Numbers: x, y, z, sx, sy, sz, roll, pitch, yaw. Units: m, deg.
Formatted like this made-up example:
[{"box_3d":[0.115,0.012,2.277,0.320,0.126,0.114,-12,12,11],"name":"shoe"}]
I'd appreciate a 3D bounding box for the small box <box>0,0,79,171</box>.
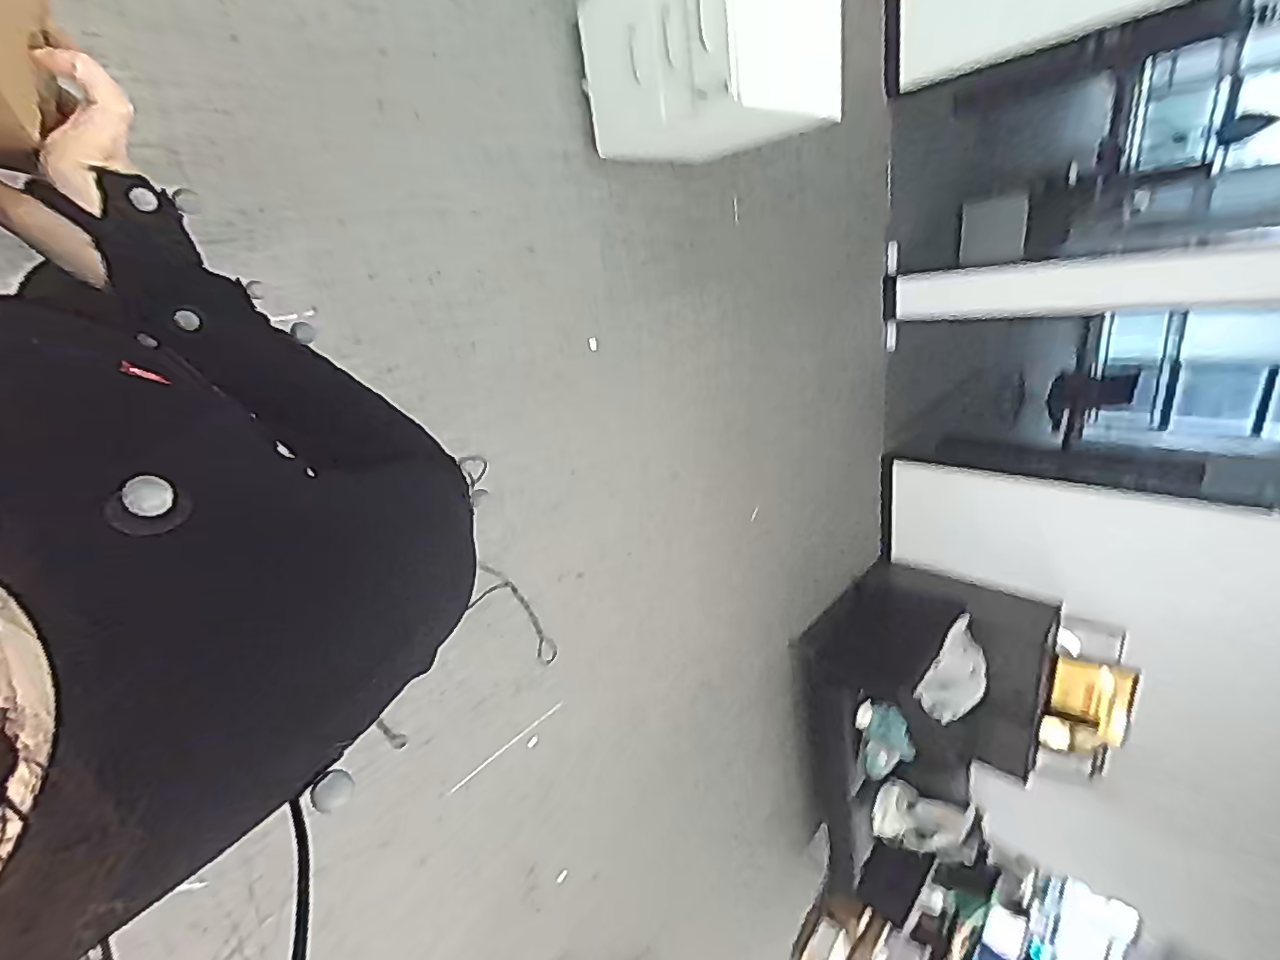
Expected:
[{"box_3d":[-0.369,-0.255,0.221,0.179,0.176,0.168,-4,97,-37],"name":"small box"}]
